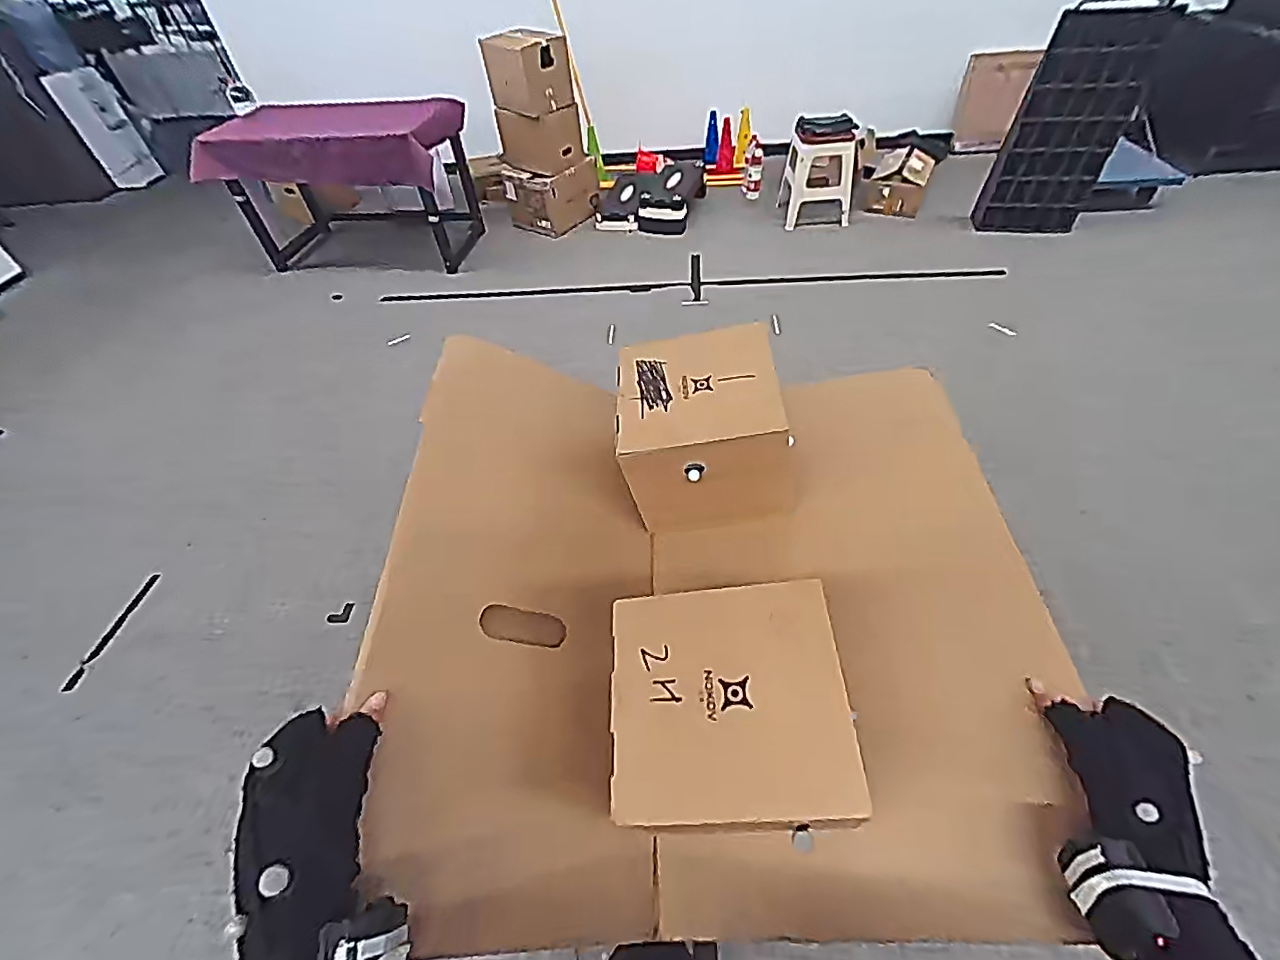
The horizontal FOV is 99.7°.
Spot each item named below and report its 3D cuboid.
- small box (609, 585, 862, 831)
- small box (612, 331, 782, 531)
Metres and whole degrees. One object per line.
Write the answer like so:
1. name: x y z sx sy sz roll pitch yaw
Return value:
1. small box: 0.079 0.207 0.478 0.179 0.176 0.168 -8 54 10
2. small box: 0.073 -0.051 0.662 0.179 0.176 0.168 -8 54 9
